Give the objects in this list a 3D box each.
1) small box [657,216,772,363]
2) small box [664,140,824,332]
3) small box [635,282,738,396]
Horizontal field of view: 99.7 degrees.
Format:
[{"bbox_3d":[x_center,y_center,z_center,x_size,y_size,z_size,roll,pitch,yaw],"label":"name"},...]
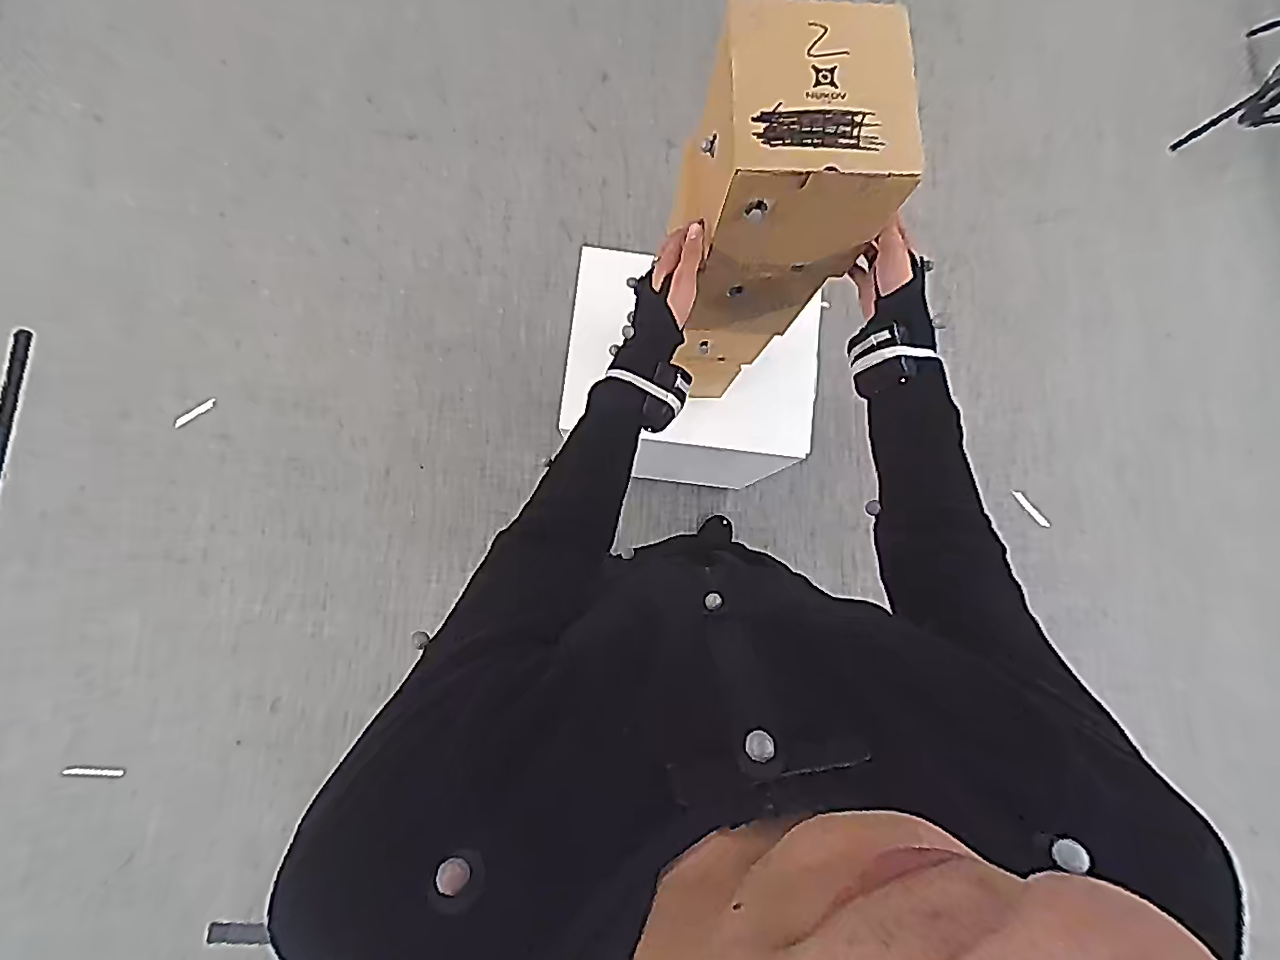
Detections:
[{"bbox_3d":[0.118,-0.298,0.879,0.168,0.176,0.179,0,81,-4],"label":"small box"},{"bbox_3d":[0.126,-0.308,0.714,0.179,0.176,0.168,3,82,-4],"label":"small box"},{"bbox_3d":[0.080,-0.261,1.035,0.179,0.176,0.168,-1,82,-5],"label":"small box"}]
